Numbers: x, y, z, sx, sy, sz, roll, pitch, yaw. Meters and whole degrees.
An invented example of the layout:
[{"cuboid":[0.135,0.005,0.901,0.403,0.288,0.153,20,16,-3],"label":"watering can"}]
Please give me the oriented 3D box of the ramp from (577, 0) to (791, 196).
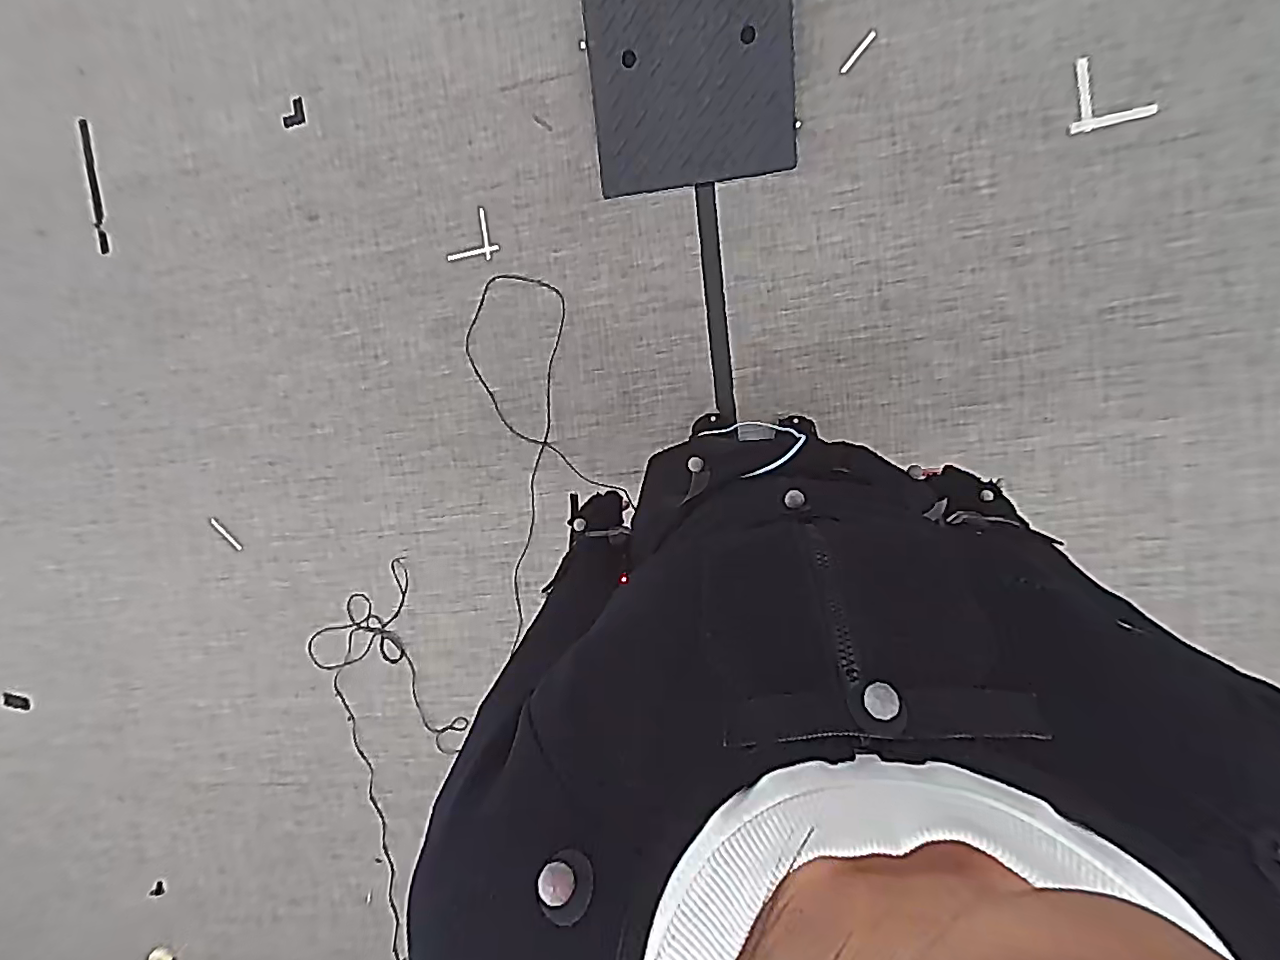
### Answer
[{"cuboid":[0.082,-1.233,1.240,0.509,0.206,0.991,-6,96,9],"label":"ramp"}]
